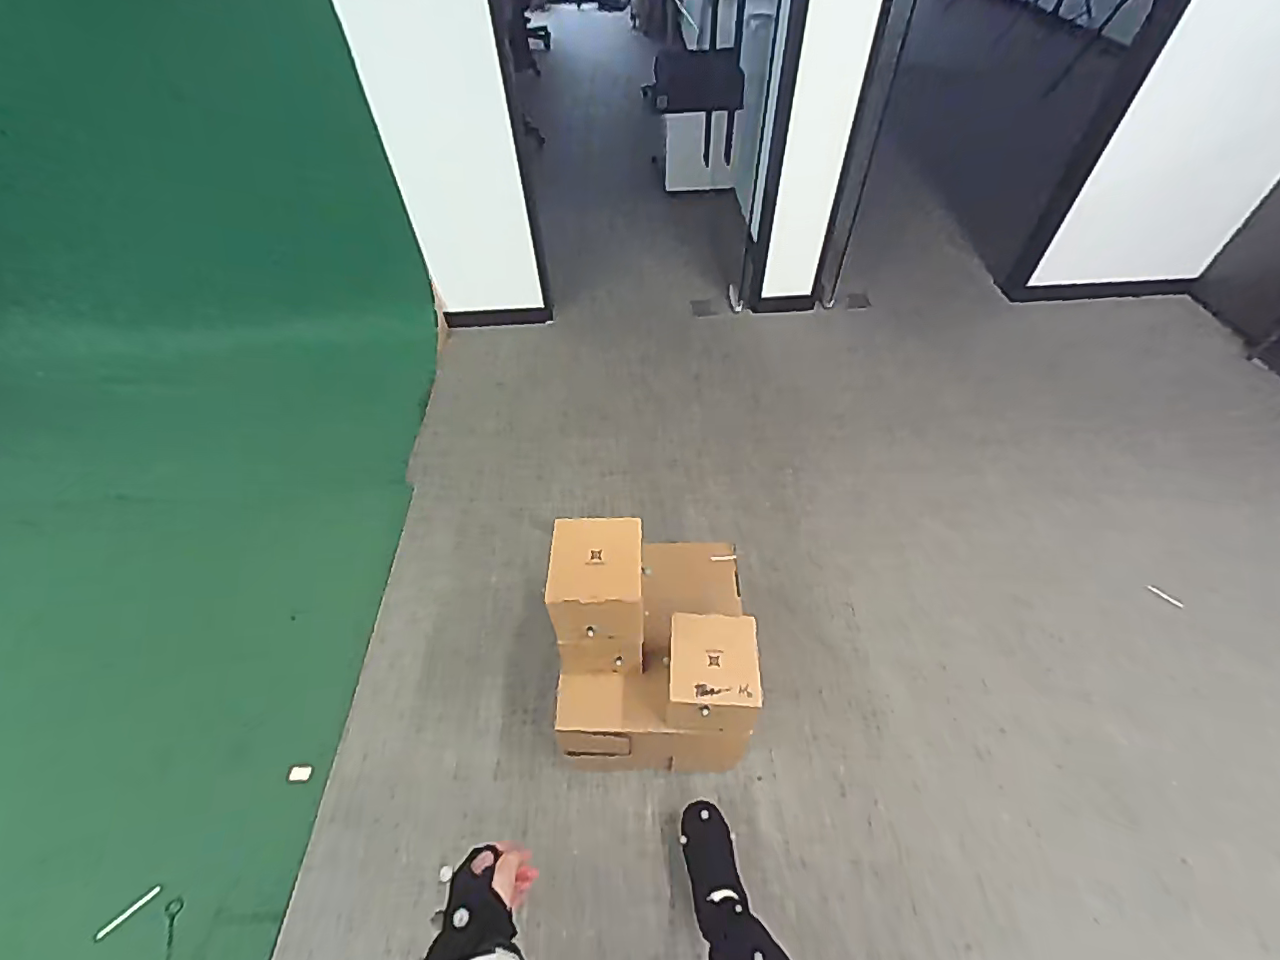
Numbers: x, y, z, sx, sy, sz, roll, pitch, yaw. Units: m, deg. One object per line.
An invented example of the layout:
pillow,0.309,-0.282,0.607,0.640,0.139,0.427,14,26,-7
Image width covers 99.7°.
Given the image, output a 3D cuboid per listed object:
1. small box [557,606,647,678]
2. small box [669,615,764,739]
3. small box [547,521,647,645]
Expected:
small box,-0.072,0.307,1.149,0.168,0.176,0.179,0,48,3
small box,0.144,0.387,1.066,0.168,0.176,0.179,1,48,3
small box,-0.072,0.197,1.028,0.168,0.176,0.179,0,51,3
